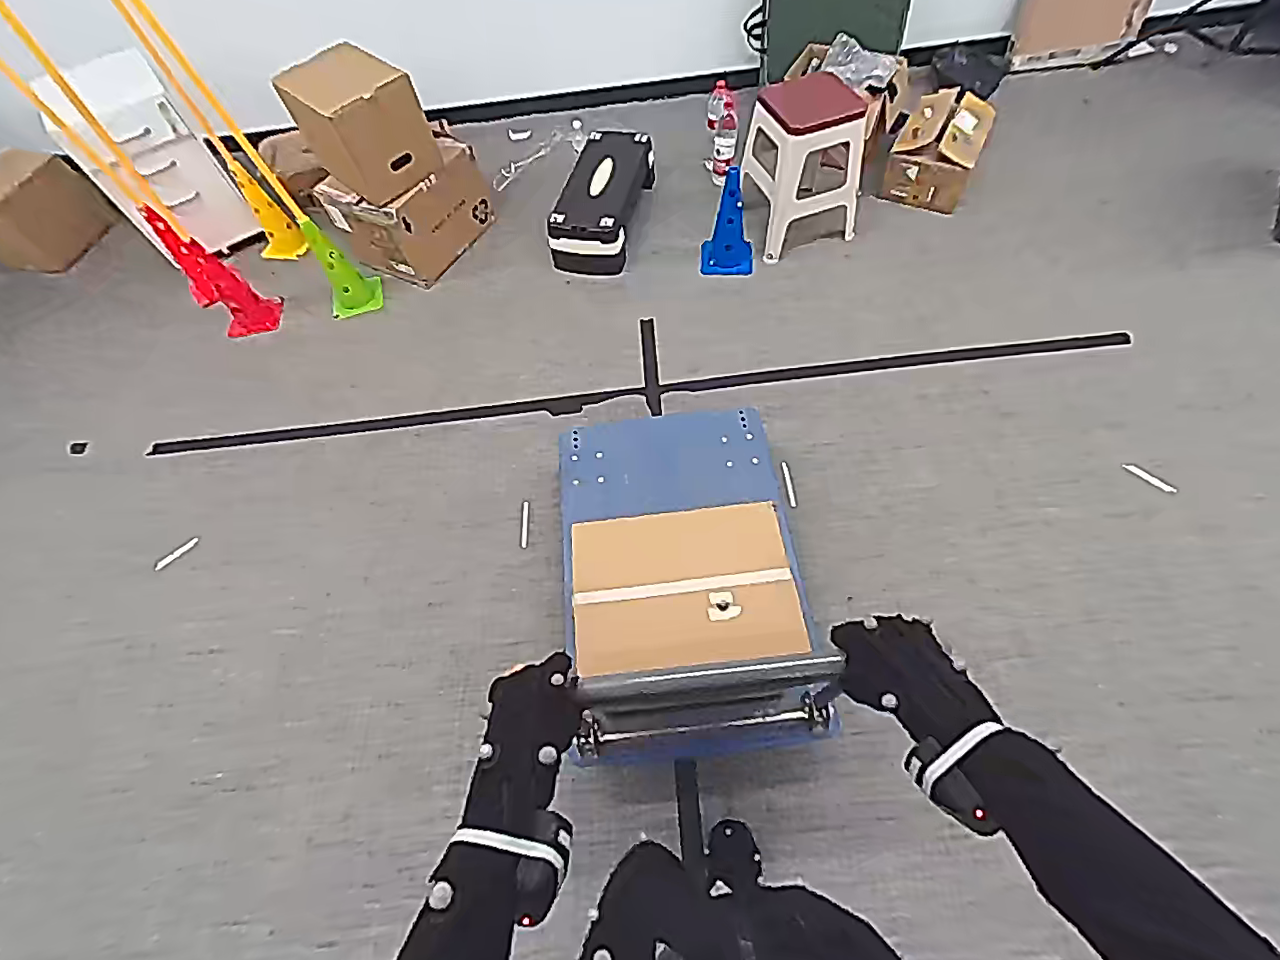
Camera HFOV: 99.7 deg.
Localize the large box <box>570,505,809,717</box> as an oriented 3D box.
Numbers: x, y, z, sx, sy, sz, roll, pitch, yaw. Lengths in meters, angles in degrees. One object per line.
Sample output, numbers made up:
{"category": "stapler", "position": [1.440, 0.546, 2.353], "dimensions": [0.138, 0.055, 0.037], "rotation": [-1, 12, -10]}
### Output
{"category": "large box", "position": [0.082, 0.280, 1.115], "dimensions": [0.408, 0.320, 0.320], "rotation": [-7, 60, -1]}
